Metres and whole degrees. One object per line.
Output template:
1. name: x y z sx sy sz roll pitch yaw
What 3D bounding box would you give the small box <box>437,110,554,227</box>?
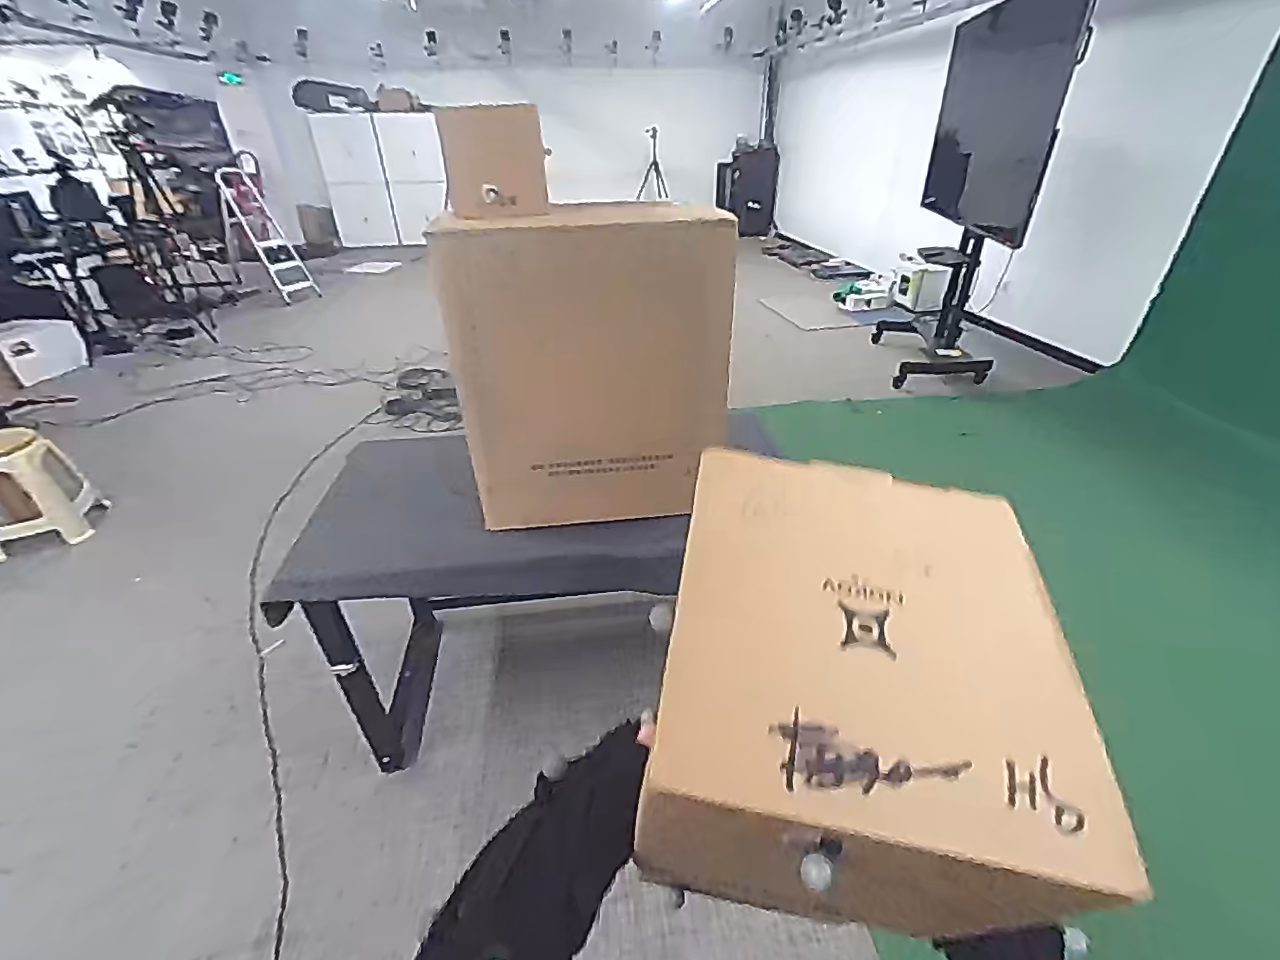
1. small box: -0.251 -0.564 0.979 0.168 0.176 0.179 -8 36 -5

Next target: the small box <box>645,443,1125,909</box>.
1. small box: 0.097 0.107 0.304 0.168 0.176 0.179 9 47 7
